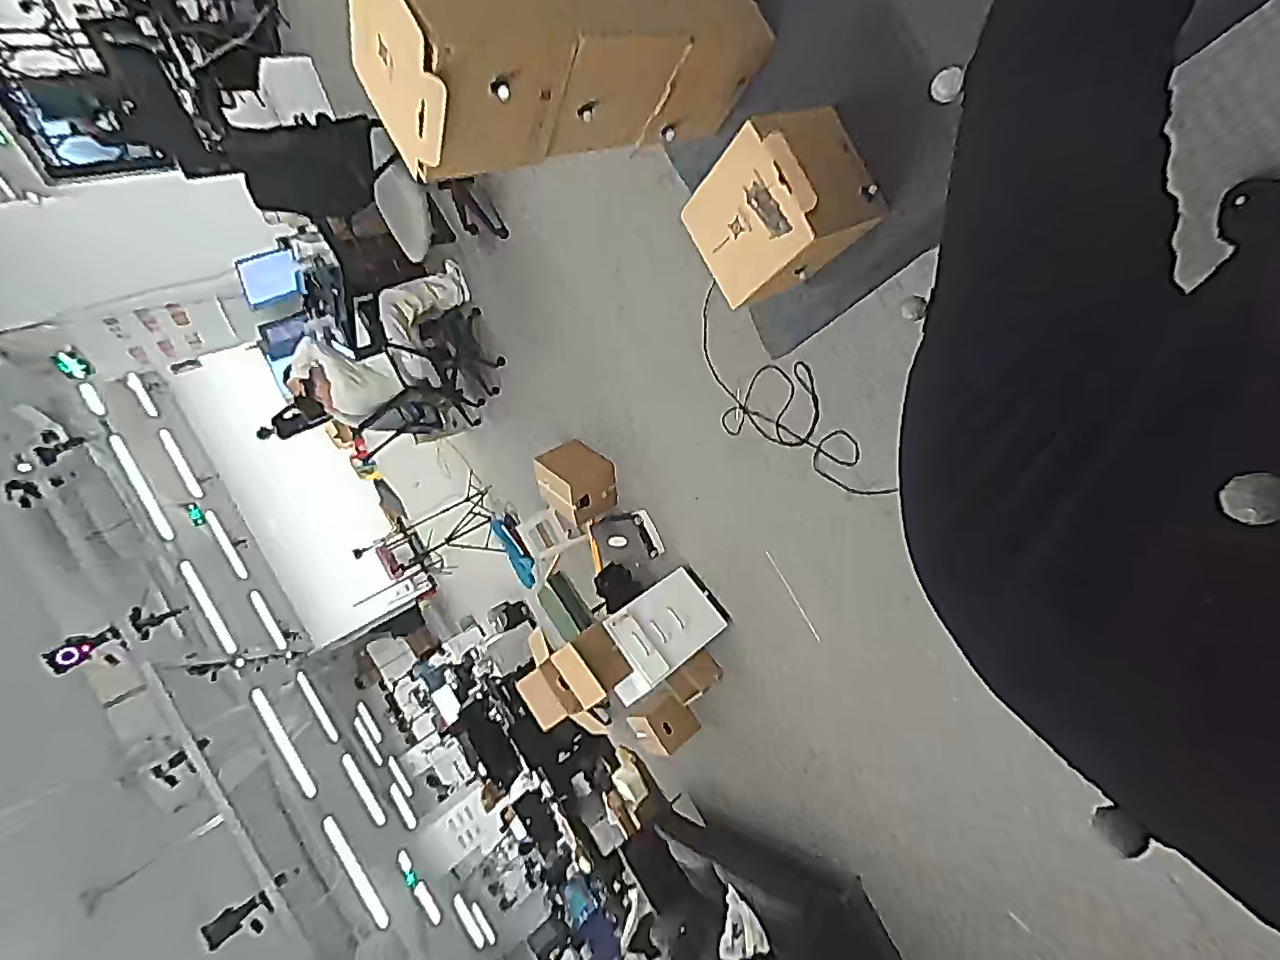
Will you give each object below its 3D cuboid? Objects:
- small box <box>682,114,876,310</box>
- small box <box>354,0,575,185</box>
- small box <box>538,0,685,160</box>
[{"bbox_3d":[0.198,-0.374,0.757,0.168,0.176,0.179,60,151,0],"label":"small box"},{"bbox_3d":[-0.198,-0.477,0.612,0.179,0.176,0.168,59,149,4],"label":"small box"},{"bbox_3d":[-0.073,-0.549,0.686,0.168,0.176,0.179,59,150,0],"label":"small box"}]
